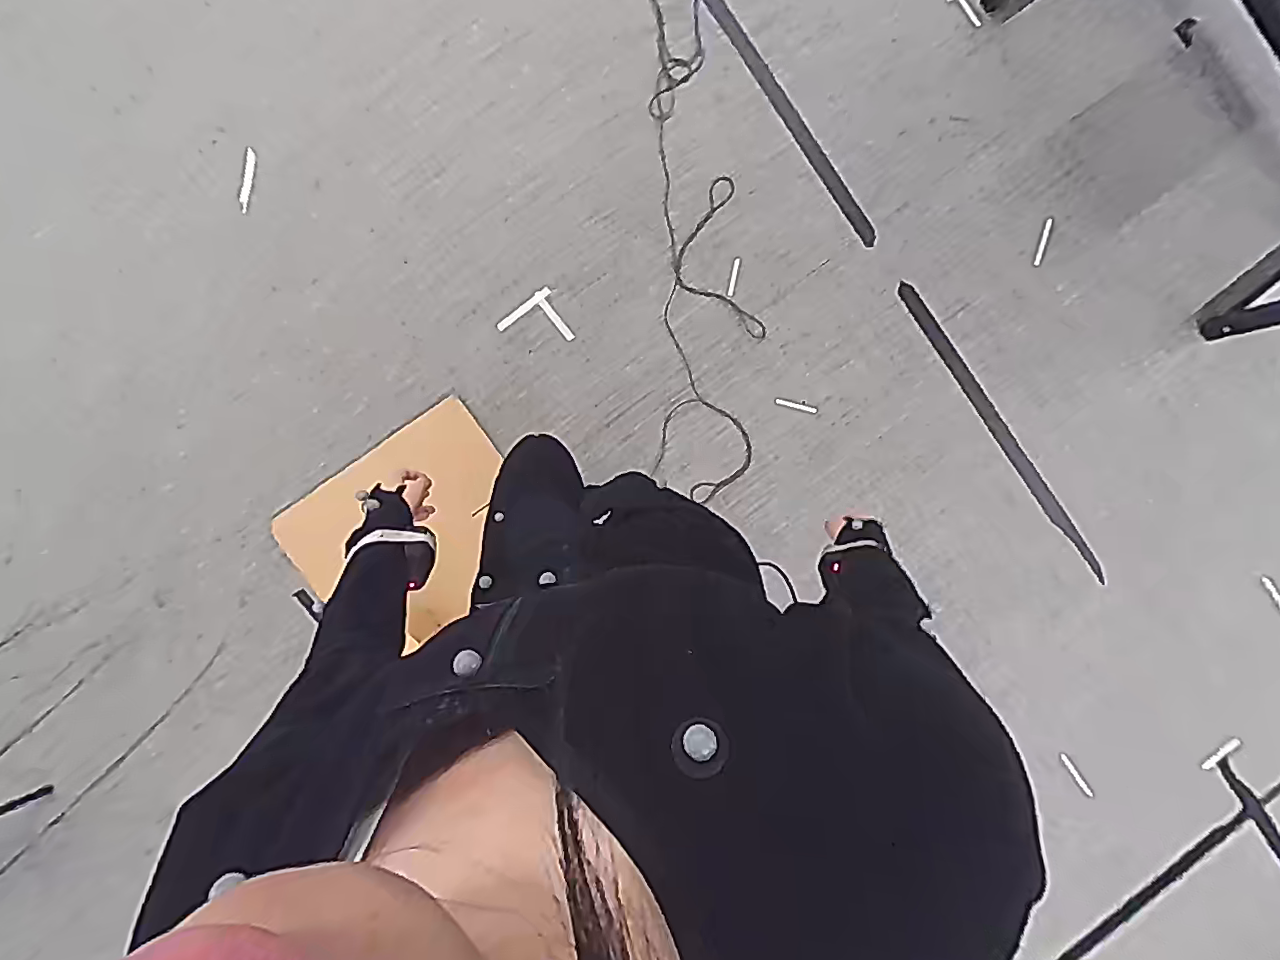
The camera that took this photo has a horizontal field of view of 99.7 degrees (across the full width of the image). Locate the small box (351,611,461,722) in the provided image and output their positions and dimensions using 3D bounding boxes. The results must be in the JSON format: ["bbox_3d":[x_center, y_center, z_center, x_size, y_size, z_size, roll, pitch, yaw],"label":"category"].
[{"bbox_3d":[-0.576,0.460,1.365,0.179,0.176,0.168,-43,93,-3],"label":"small box"}]
